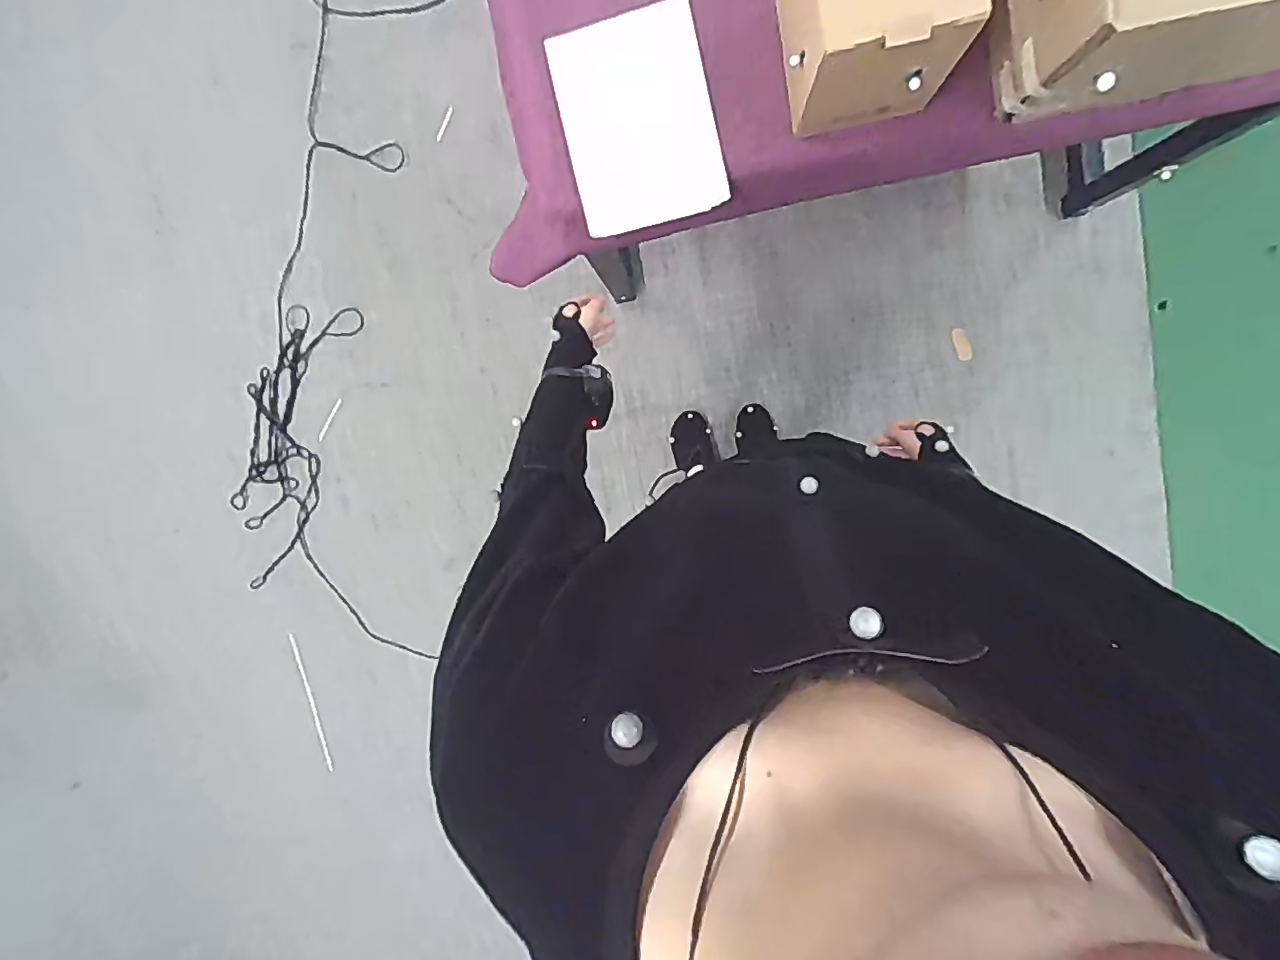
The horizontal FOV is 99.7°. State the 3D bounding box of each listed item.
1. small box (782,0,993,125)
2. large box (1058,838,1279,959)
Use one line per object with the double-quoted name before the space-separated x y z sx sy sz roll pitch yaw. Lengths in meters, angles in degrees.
"small box" 0.264 -0.537 0.612 0.168 0.176 0.179 -8 94 7
"large box" 1.409 1.212 1.371 0.408 0.320 0.320 -25 95 7
